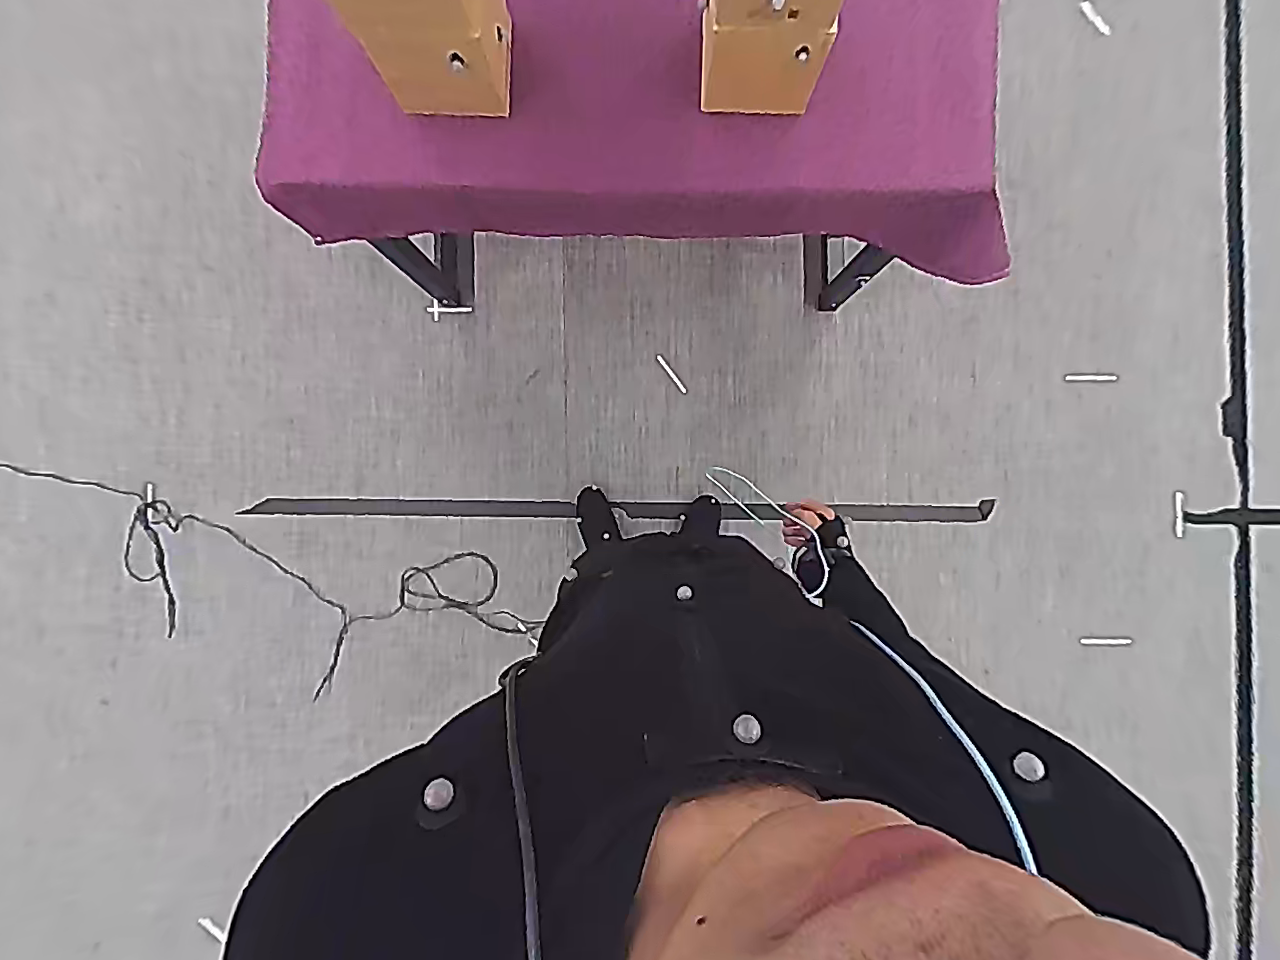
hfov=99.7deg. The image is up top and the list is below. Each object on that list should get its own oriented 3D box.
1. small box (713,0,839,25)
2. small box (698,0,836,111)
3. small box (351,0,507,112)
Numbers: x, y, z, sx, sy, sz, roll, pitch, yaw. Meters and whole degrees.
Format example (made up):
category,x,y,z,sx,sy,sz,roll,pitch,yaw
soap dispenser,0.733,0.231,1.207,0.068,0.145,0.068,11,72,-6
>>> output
category,x,y,z,sx,sy,sz,roll,pitch,yaw
small box,0.183,-0.709,0.657,0.168,0.176,0.179,1,91,0
small box,0.183,-0.697,0.821,0.179,0.176,0.168,1,90,-1
small box,-0.305,-0.692,0.817,0.179,0.176,0.168,2,90,0
